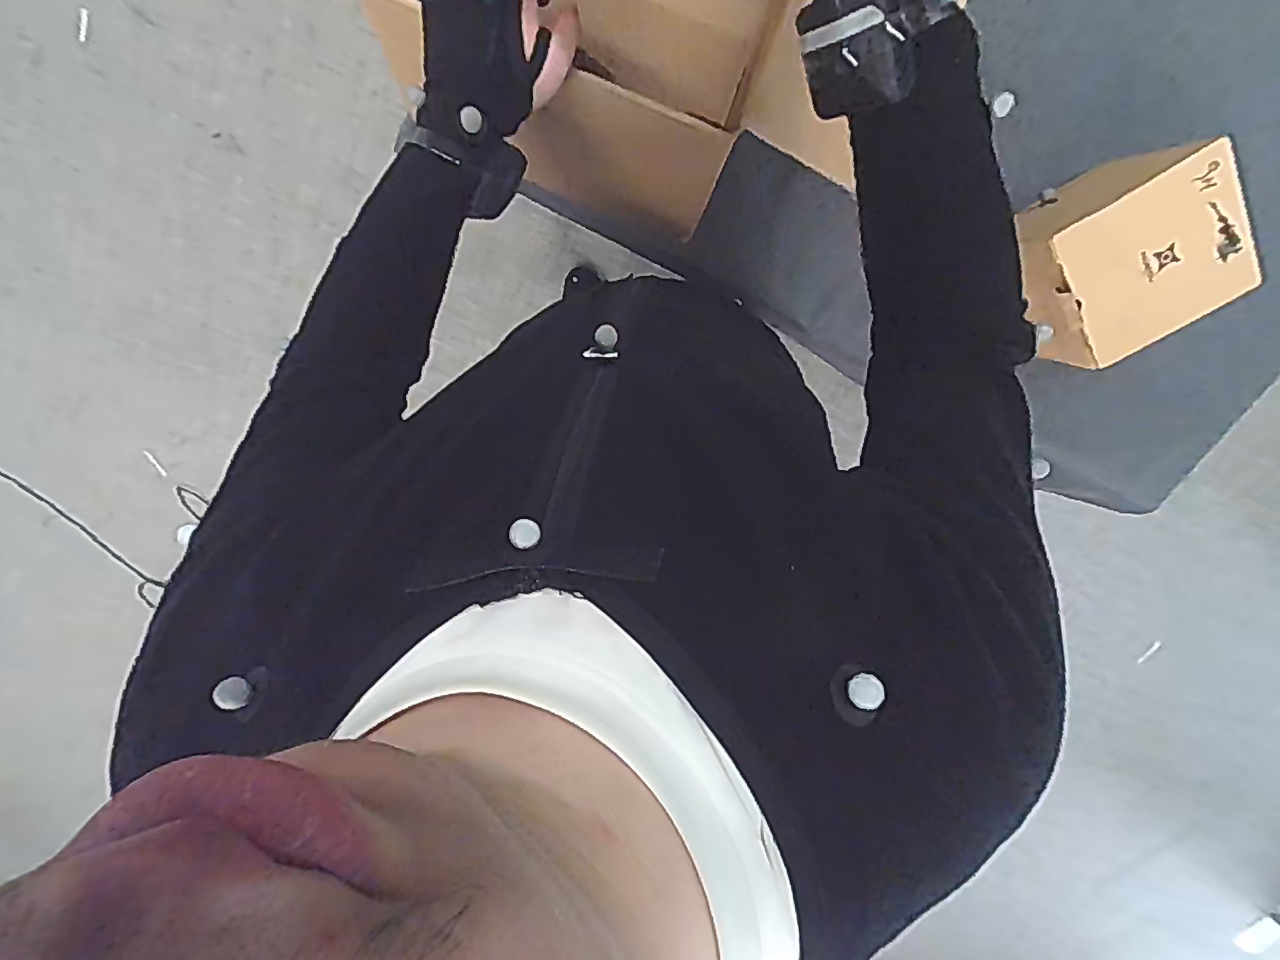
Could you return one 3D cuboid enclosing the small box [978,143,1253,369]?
[{"bbox_3d":[0.547,-0.258,0.652,0.179,0.176,0.168,-30,107,13],"label":"small box"}]
